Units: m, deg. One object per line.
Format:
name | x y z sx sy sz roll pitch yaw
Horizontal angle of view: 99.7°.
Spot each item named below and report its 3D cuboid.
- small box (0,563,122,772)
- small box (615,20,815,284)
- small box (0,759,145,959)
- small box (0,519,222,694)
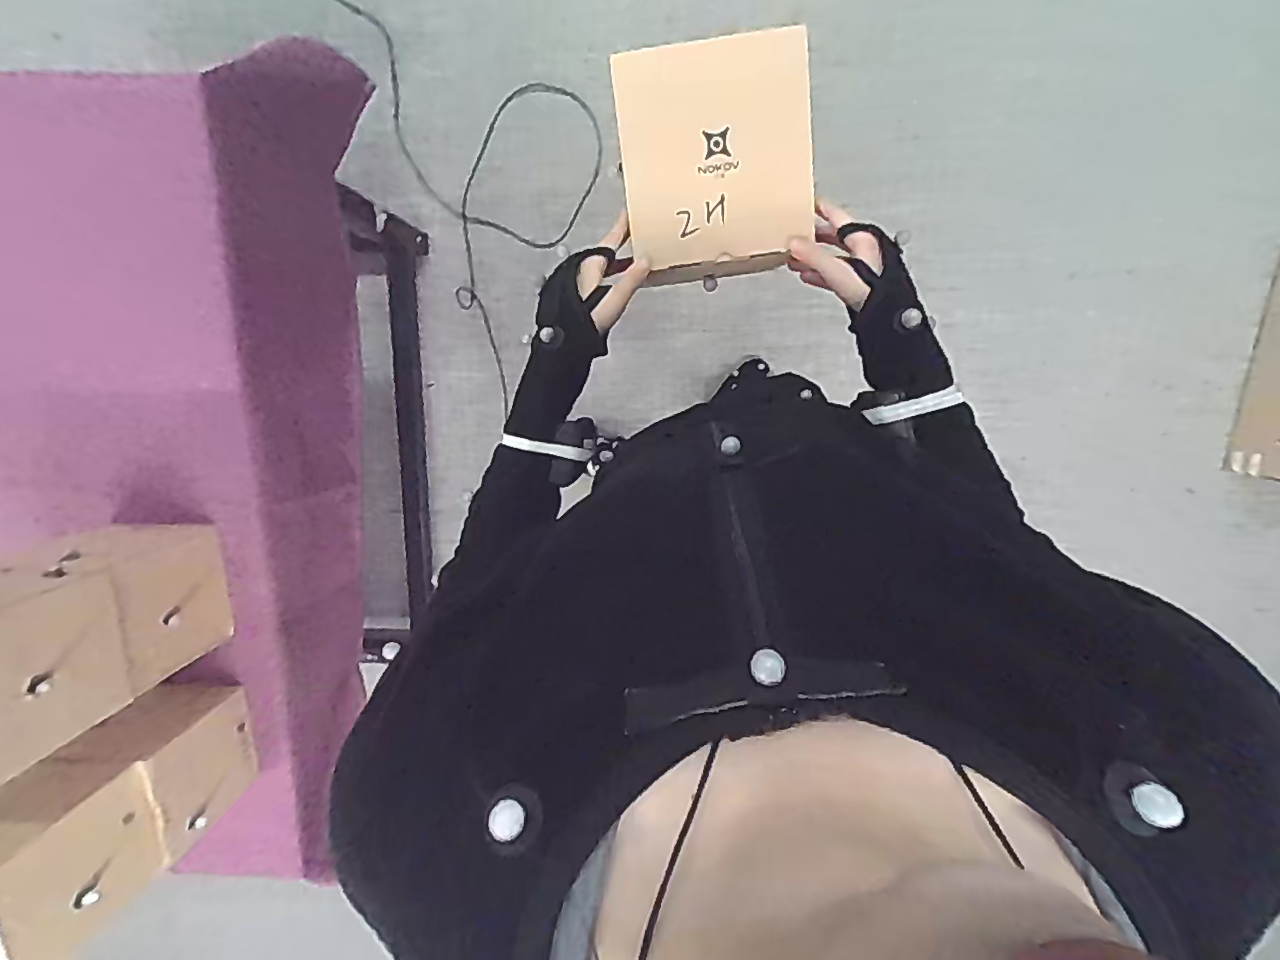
small box | -0.710 0.194 0.567 0.168 0.176 0.179 2 102 2
small box | 0.068 -0.303 0.539 0.168 0.176 0.179 -5 105 3
small box | -0.726 0.448 0.622 0.179 0.176 0.168 -2 101 4
small box | -0.709 0.161 0.729 0.168 0.176 0.179 1 102 2
